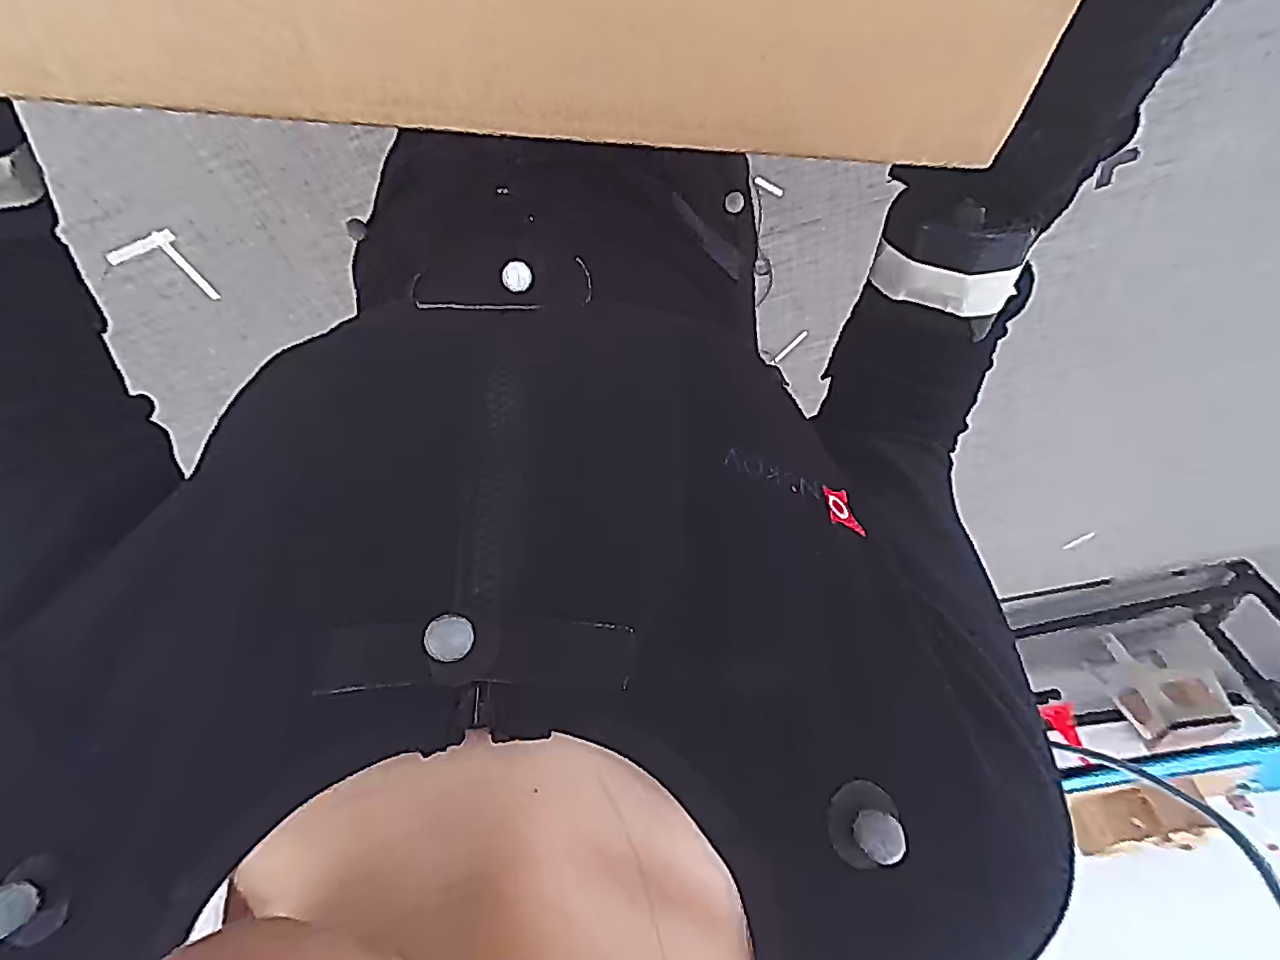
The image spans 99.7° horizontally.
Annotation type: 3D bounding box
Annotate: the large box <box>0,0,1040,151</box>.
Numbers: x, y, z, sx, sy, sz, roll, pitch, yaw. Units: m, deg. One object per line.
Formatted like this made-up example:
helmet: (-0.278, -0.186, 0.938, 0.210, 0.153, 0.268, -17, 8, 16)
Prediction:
large box: (-0.060, -0.346, 0.176, 0.408, 0.320, 0.320, 2, 140, -4)
